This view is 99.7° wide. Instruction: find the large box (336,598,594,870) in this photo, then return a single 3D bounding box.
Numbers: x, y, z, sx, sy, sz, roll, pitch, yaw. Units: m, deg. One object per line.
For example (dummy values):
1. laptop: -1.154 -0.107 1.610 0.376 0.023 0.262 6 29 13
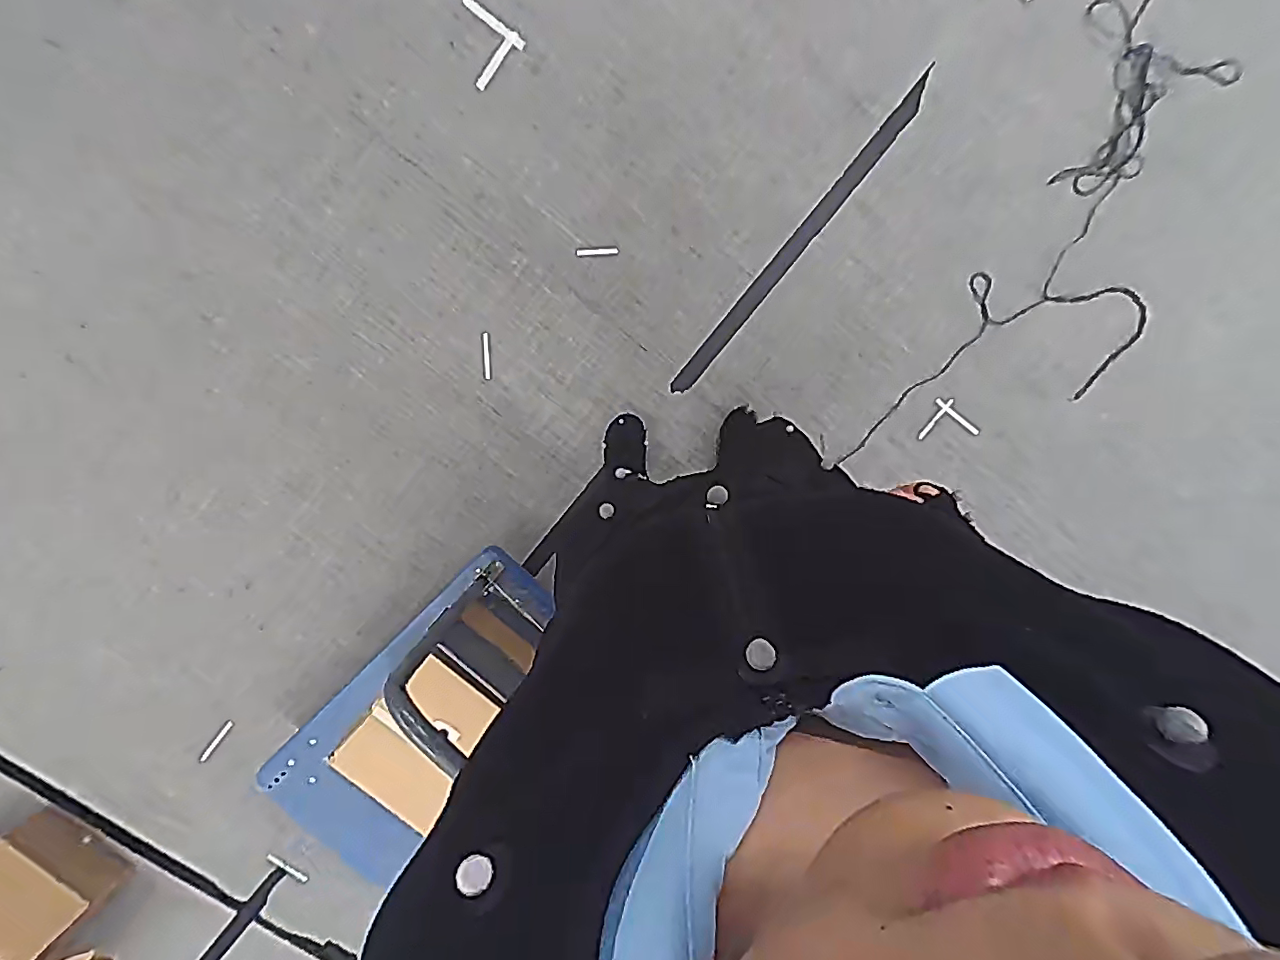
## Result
1. large box: -0.359 0.545 1.225 0.408 0.320 0.320 41 93 -5
